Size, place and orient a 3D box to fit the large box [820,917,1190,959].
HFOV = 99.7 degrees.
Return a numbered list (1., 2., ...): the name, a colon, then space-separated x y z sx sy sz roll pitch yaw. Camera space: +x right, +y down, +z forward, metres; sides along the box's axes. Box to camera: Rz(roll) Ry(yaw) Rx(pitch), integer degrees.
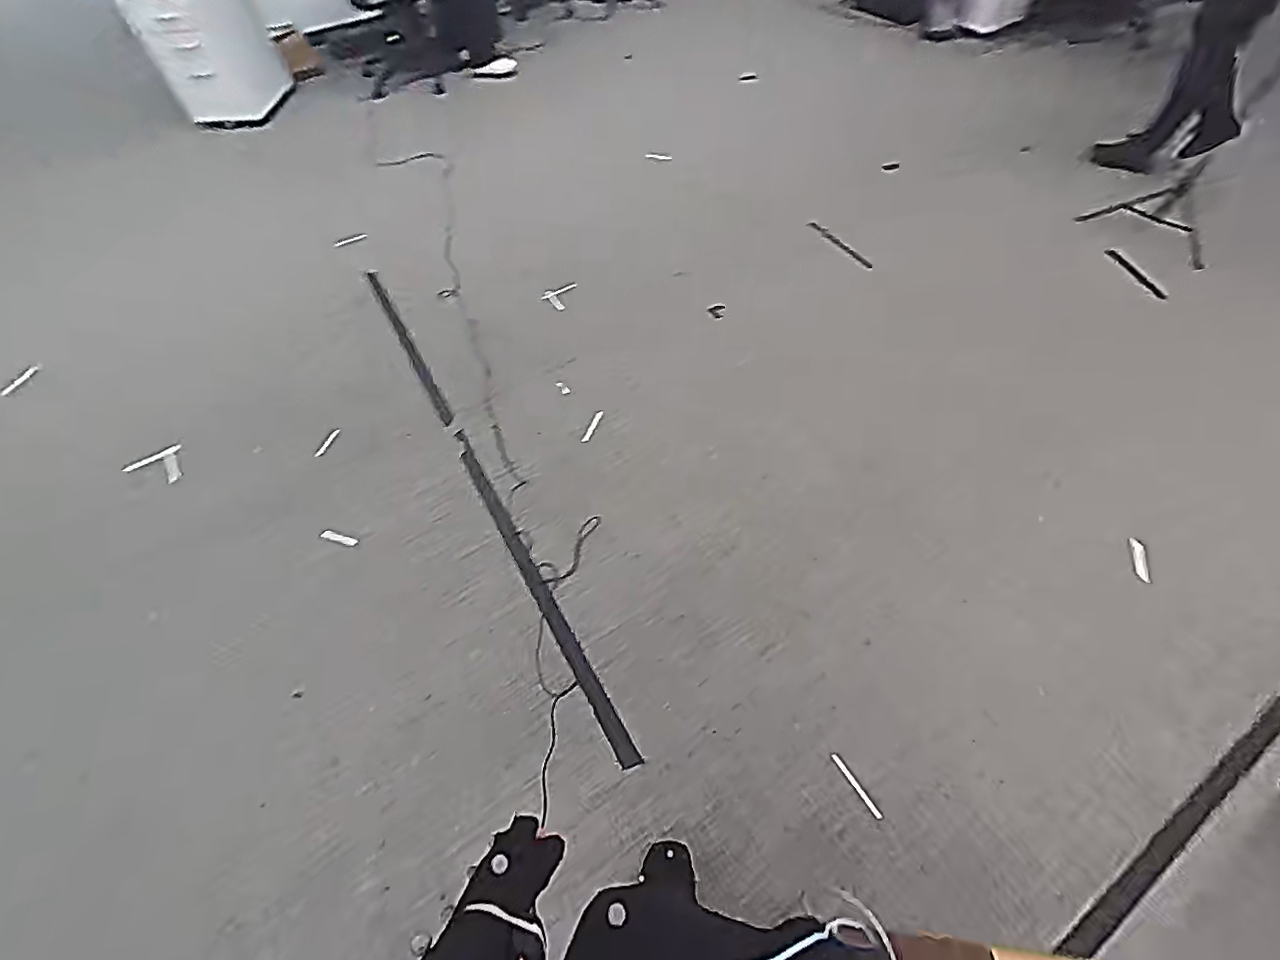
1. large box: 0.458 0.742 0.642 0.320 0.408 0.320 11 54 -4
